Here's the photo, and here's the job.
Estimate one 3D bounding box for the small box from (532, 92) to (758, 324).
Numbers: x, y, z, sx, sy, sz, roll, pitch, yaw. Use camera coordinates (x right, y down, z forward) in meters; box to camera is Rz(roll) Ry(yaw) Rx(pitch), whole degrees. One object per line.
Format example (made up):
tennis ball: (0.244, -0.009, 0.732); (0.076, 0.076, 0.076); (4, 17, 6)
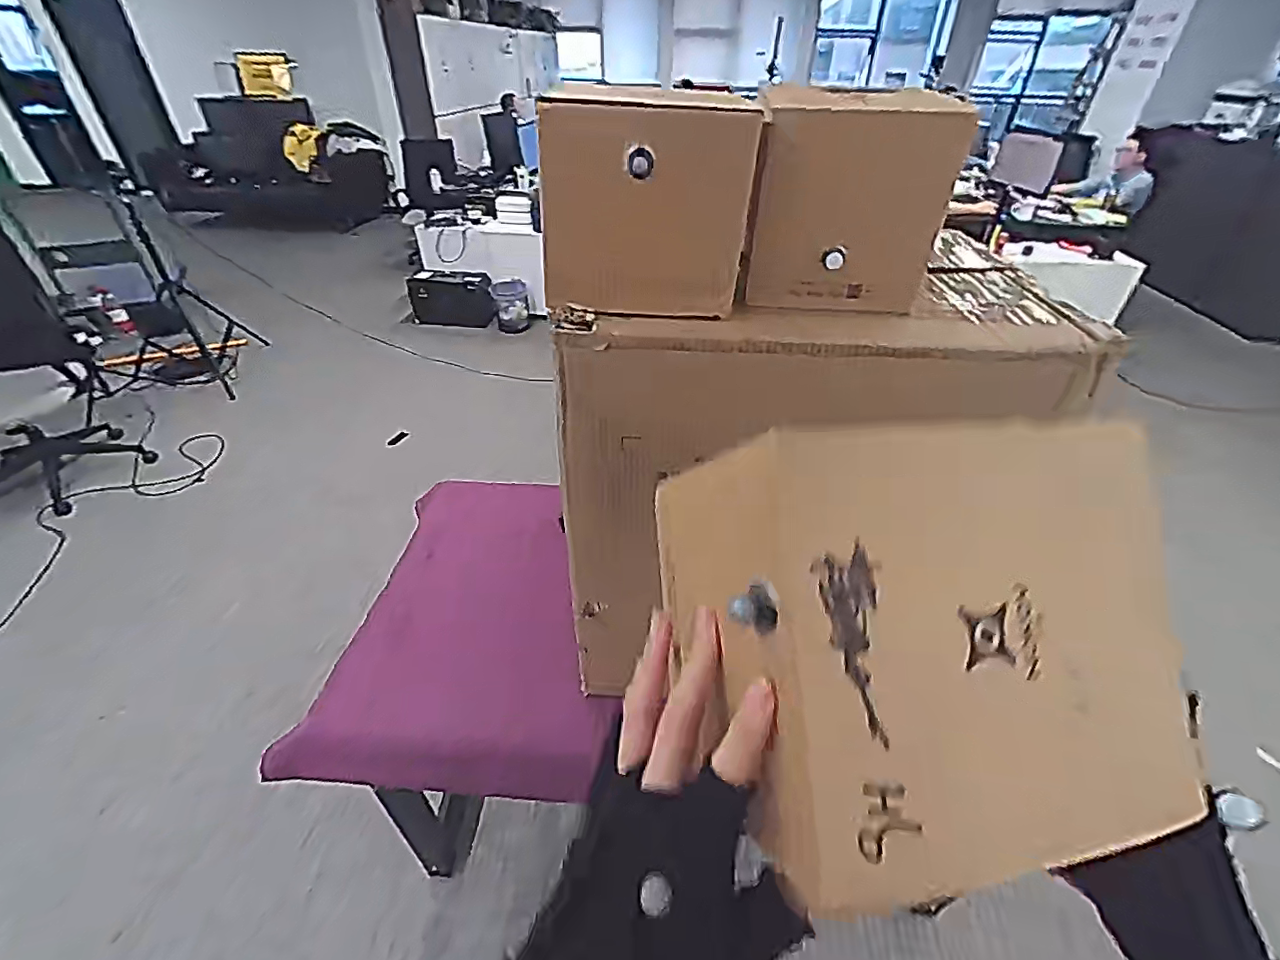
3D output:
small box: (0.003, -0.260, 0.518); (0.179, 0.176, 0.168); (4, 38, -1)

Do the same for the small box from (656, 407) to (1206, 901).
small box: (0.117, 0.062, 0.280); (0.179, 0.176, 0.168); (-2, 83, -14)

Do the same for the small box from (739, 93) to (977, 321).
small box: (0.193, -0.278, 0.545); (0.168, 0.176, 0.179); (4, 41, 5)
